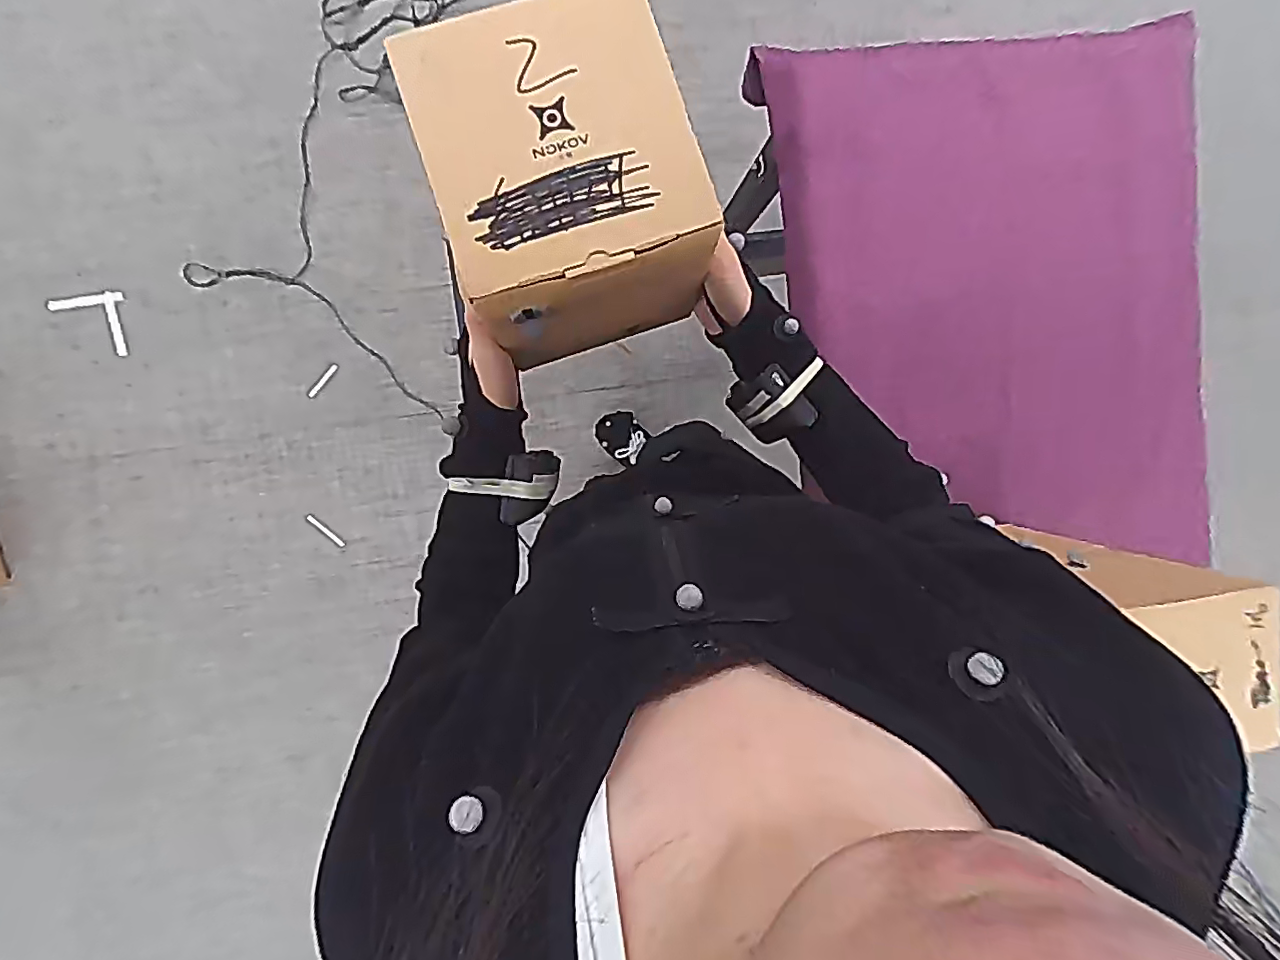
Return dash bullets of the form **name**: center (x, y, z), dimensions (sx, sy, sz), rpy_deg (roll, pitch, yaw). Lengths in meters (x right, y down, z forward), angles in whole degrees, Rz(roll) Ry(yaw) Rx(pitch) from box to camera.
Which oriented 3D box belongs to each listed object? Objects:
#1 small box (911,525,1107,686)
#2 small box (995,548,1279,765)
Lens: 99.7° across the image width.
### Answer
- **small box**: center (0.504, 0.164, 0.758), dimensions (0.179, 0.176, 0.168), rpy_deg (-8, 96, -6)
- **small box**: center (0.525, 0.178, 0.596), dimensions (0.179, 0.176, 0.168), rpy_deg (-7, 95, -5)
